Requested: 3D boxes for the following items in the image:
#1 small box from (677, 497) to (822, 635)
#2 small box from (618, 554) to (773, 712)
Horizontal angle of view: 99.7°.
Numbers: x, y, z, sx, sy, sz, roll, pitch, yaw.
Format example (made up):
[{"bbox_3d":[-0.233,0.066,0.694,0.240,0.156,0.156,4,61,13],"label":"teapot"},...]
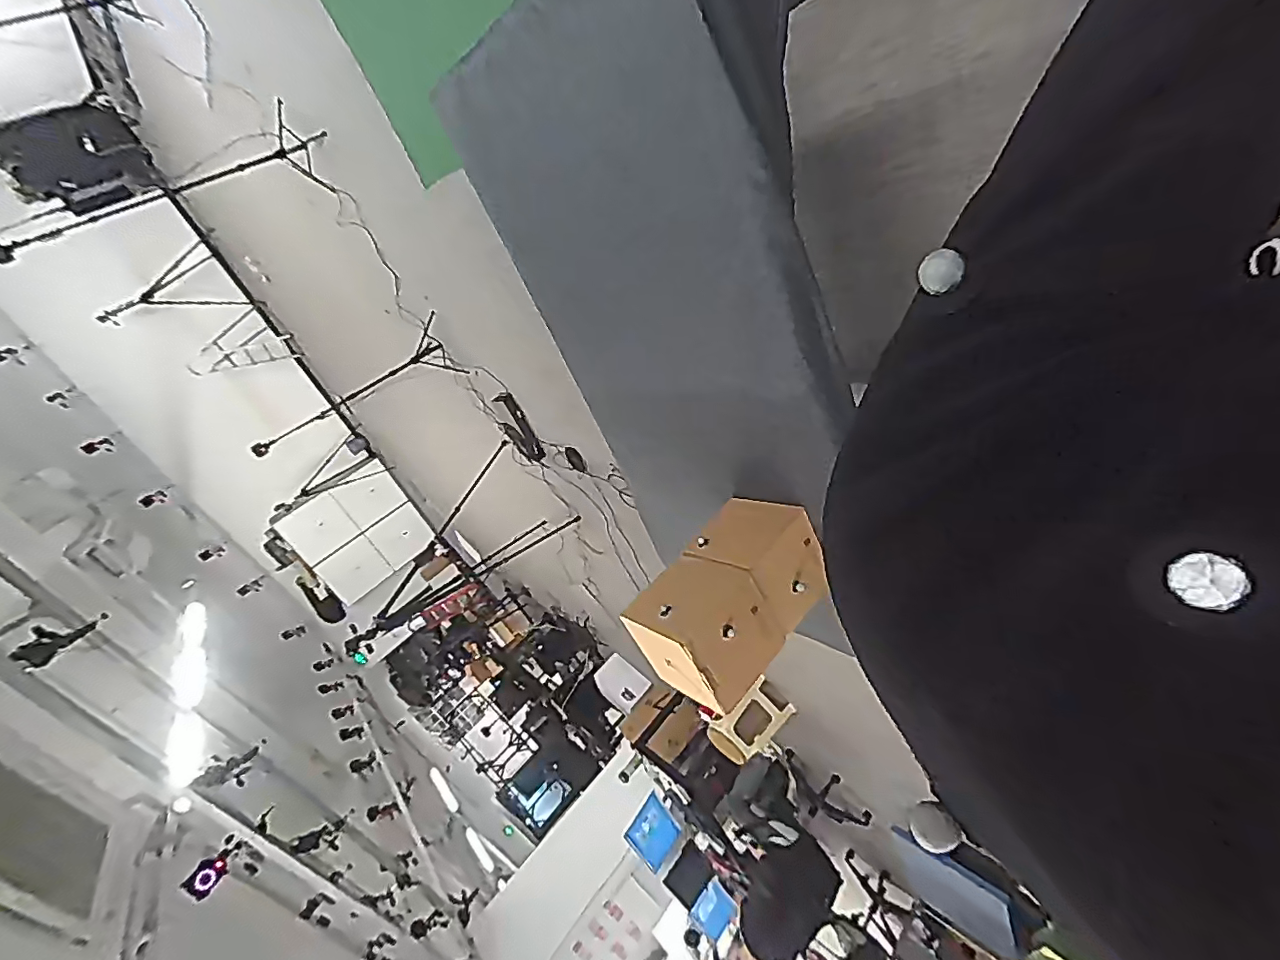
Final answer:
[{"bbox_3d":[0.208,0.146,0.986,0.179,0.176,0.168,6,132,54],"label":"small box"},{"bbox_3d":[0.101,0.245,0.913,0.179,0.176,0.168,6,131,55],"label":"small box"}]
